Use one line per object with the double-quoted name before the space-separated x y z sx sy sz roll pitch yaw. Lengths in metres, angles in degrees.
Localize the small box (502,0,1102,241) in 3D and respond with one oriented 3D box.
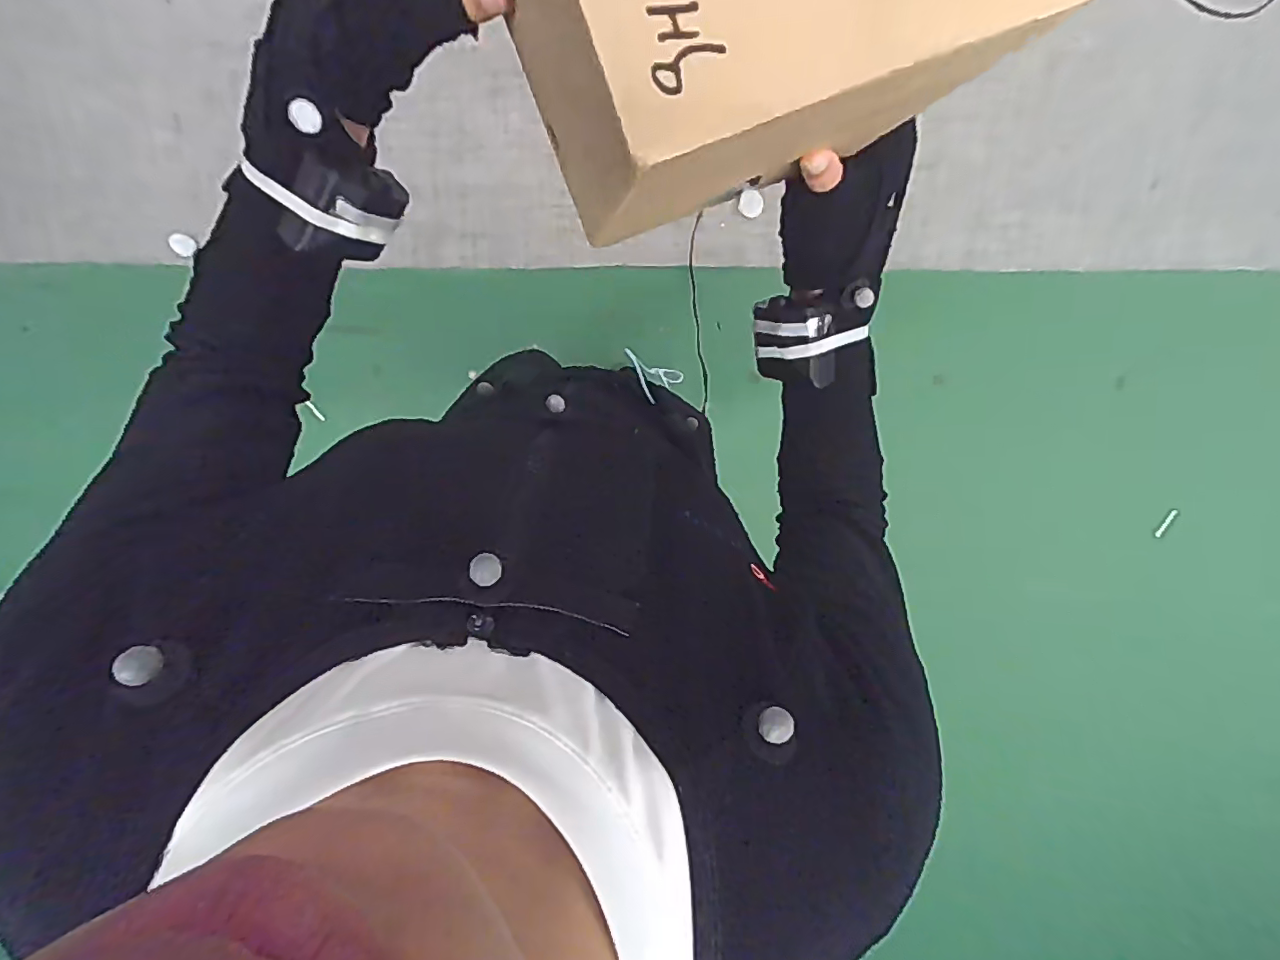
"small box" 0.039 -0.223 0.231 0.179 0.176 0.168 -22 107 -5
